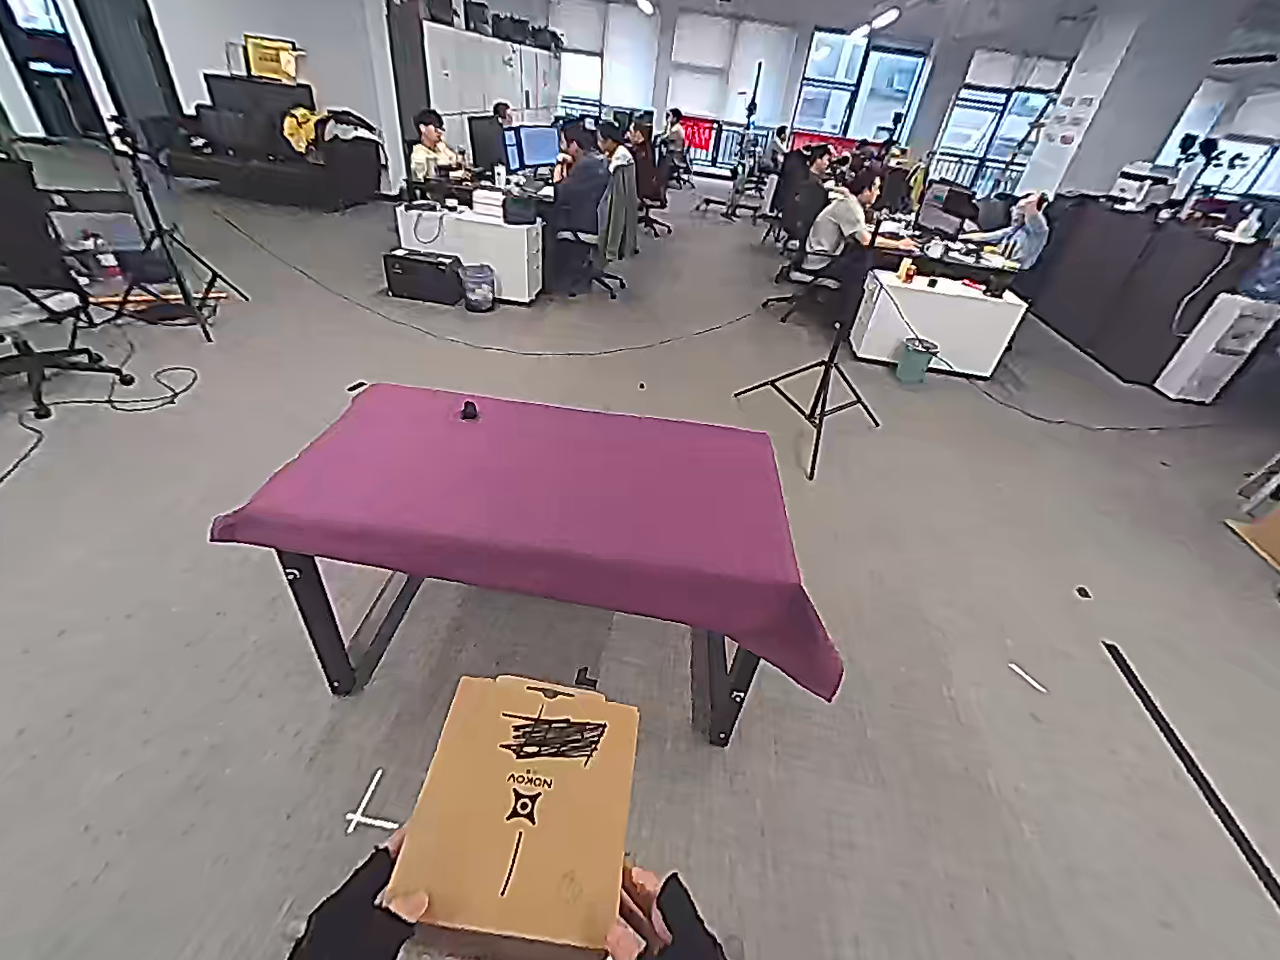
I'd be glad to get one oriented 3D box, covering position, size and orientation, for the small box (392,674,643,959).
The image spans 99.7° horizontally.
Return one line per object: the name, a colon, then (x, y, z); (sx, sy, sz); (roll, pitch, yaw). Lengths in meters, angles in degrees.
small box: (-0.099, 0.307, 0.487); (0.168, 0.176, 0.179); (11, 42, -3)
